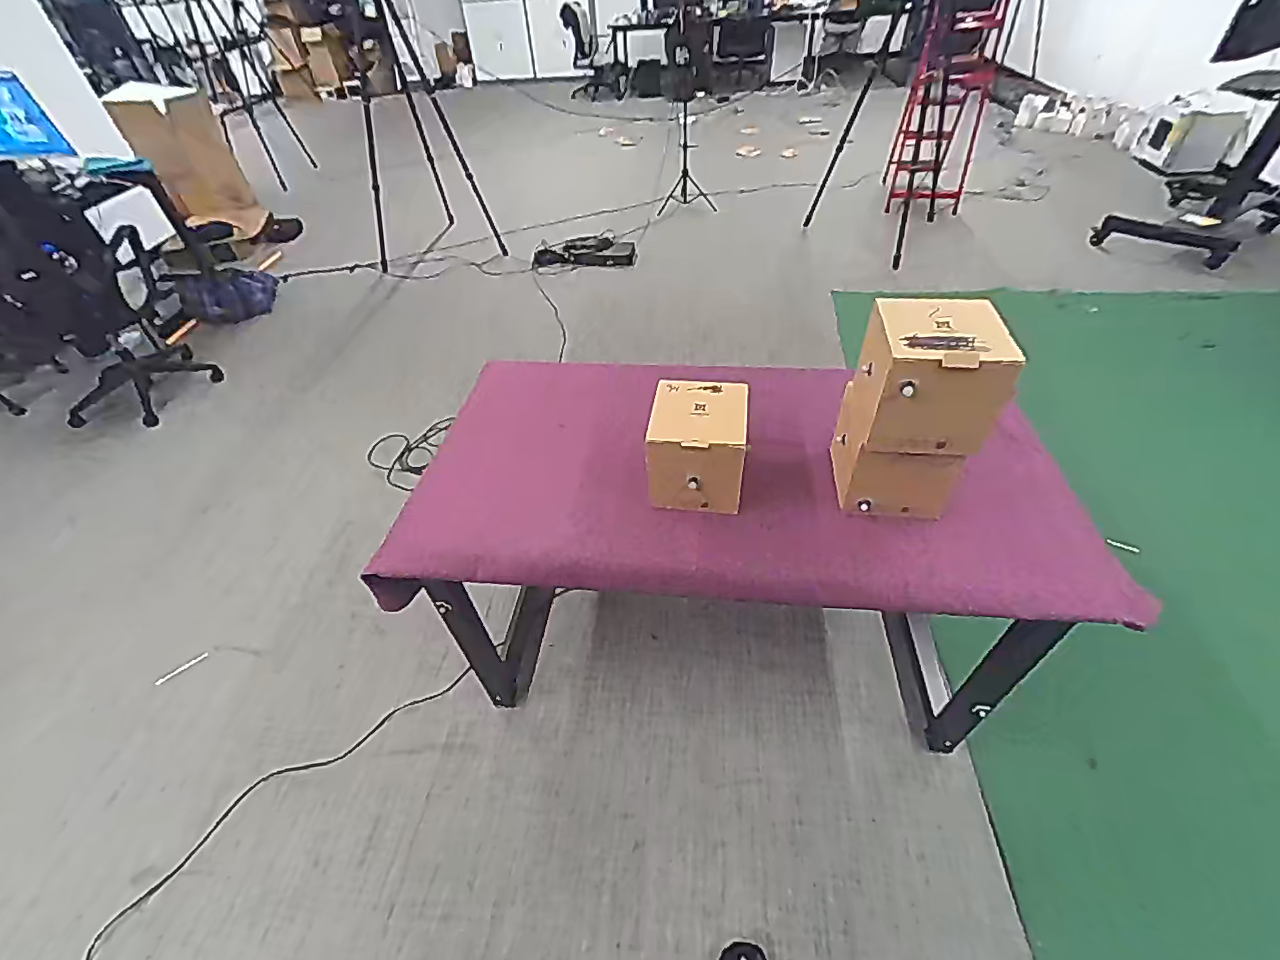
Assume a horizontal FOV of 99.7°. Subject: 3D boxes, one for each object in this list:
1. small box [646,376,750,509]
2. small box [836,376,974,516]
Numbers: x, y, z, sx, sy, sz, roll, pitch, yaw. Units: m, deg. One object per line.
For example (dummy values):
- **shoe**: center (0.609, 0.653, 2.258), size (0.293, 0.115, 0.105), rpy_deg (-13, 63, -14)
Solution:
- **small box**: center (0.108, -0.066, 0.982), size (0.168, 0.176, 0.179), rpy_deg (5, 47, 9)
- **small box**: center (0.448, -0.057, 0.945), size (0.168, 0.176, 0.179), rpy_deg (7, 47, 9)
